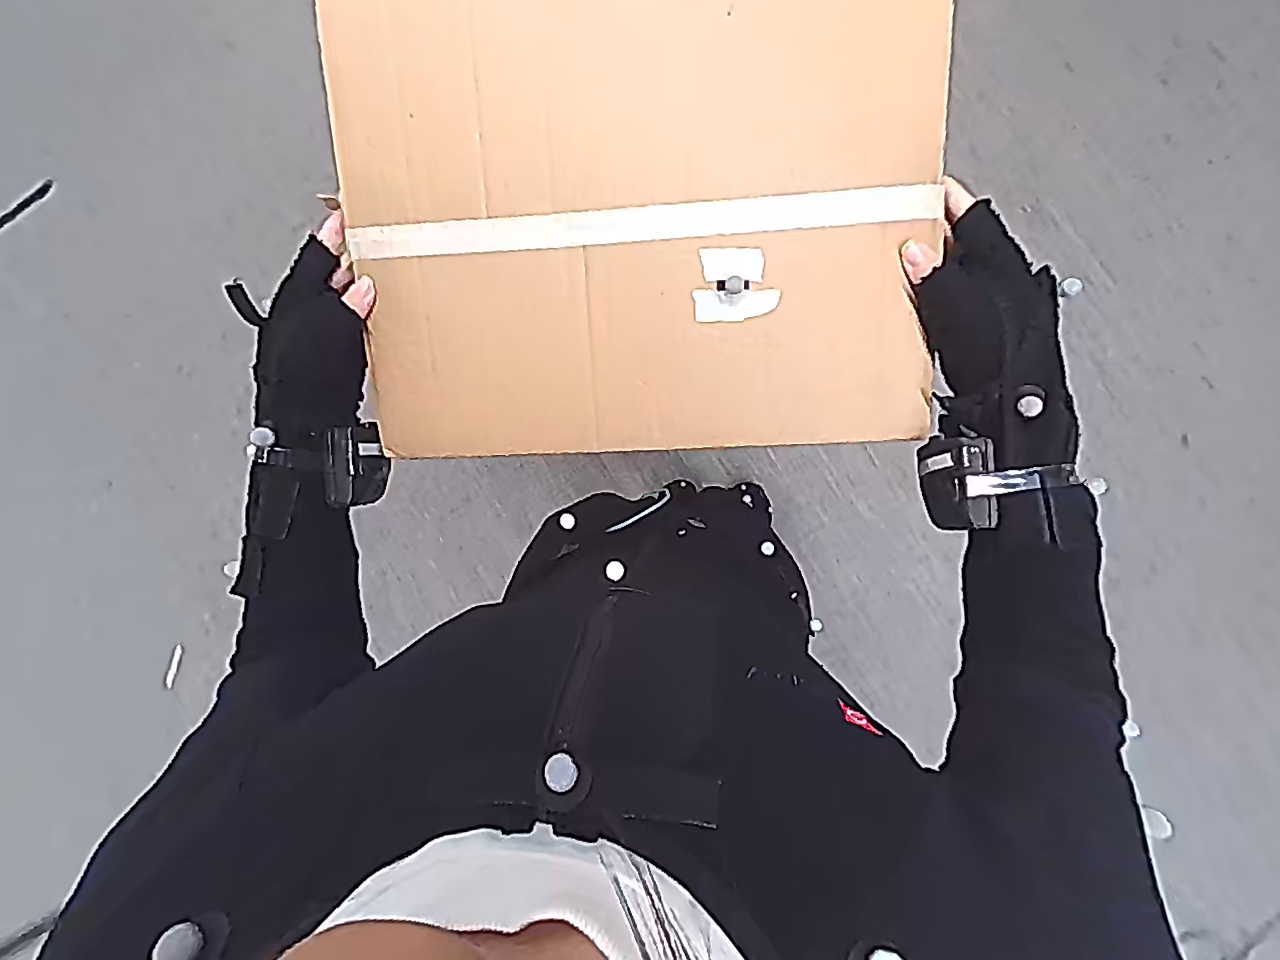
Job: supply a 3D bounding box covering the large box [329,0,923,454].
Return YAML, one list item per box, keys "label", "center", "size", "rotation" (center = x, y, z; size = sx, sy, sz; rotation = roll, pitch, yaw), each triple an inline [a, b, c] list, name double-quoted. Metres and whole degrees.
- label: "large box"
  center: [0.001, -0.214, 0.530]
  size: [0.408, 0.320, 0.320]
  rotation: [-4, 102, 3]
